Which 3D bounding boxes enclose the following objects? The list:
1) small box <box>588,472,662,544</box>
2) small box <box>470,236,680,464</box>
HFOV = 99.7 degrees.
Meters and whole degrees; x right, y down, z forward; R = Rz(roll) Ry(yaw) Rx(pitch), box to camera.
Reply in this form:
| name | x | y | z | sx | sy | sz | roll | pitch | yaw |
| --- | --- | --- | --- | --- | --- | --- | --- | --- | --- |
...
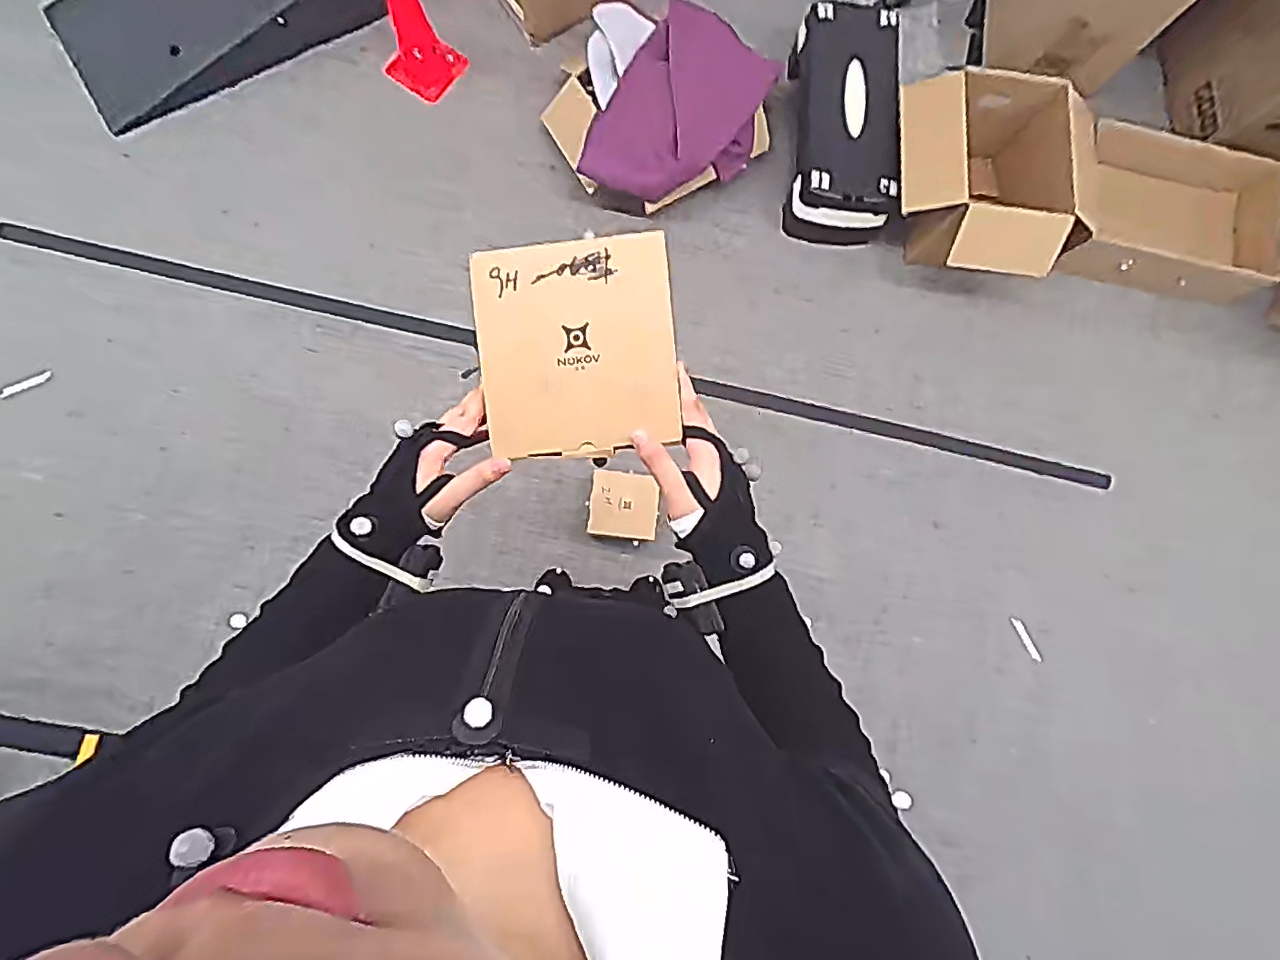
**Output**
| name | x | y | z | sx | sy | sz | roll | pitch | yaw |
| --- | --- | --- | --- | --- | --- | --- | --- | --- | --- |
| small box | -0.044 | 0.081 | 1.459 | 0.179 | 0.176 | 0.168 | 7 | 81 | -3 |
| small box | -0.049 | -0.115 | 0.532 | 0.168 | 0.176 | 0.179 | -6 | 95 | 3 |
